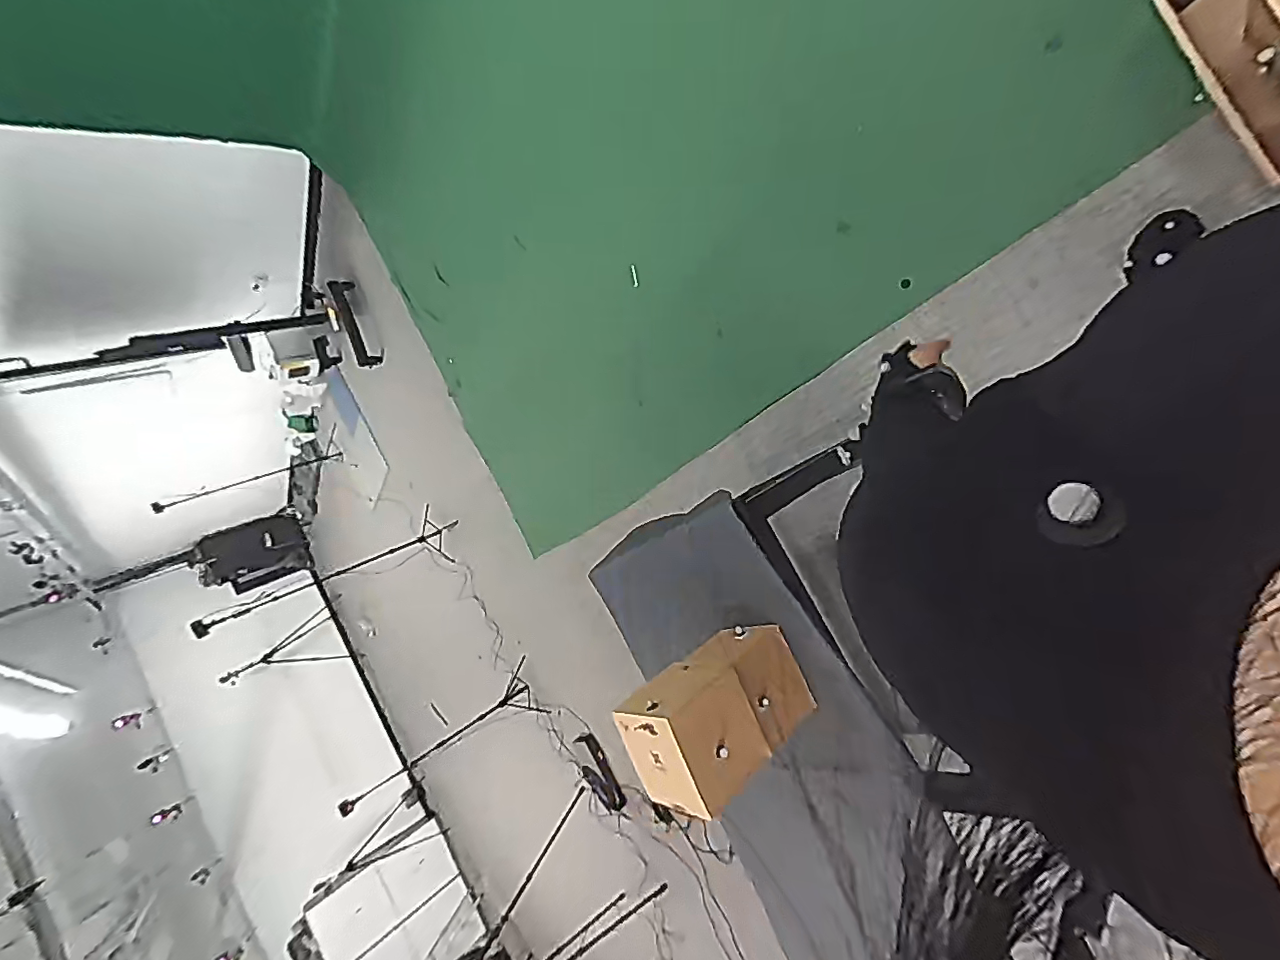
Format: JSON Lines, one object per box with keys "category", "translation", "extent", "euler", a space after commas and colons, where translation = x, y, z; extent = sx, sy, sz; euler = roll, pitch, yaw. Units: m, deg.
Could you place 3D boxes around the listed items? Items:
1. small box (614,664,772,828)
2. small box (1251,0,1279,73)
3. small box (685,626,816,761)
{"category": "small box", "translation": [0.094, 0.439, 0.924], "extent": [0.168, 0.176, 0.179], "euler": [-25, 90, 50]}
{"category": "small box", "translation": [0.985, -0.647, 0.728], "extent": [0.179, 0.176, 0.168], "euler": [-33, 85, 49]}
{"category": "small box", "translation": [0.206, 0.404, 1.040], "extent": [0.168, 0.176, 0.179], "euler": [-29, 85, 50]}
